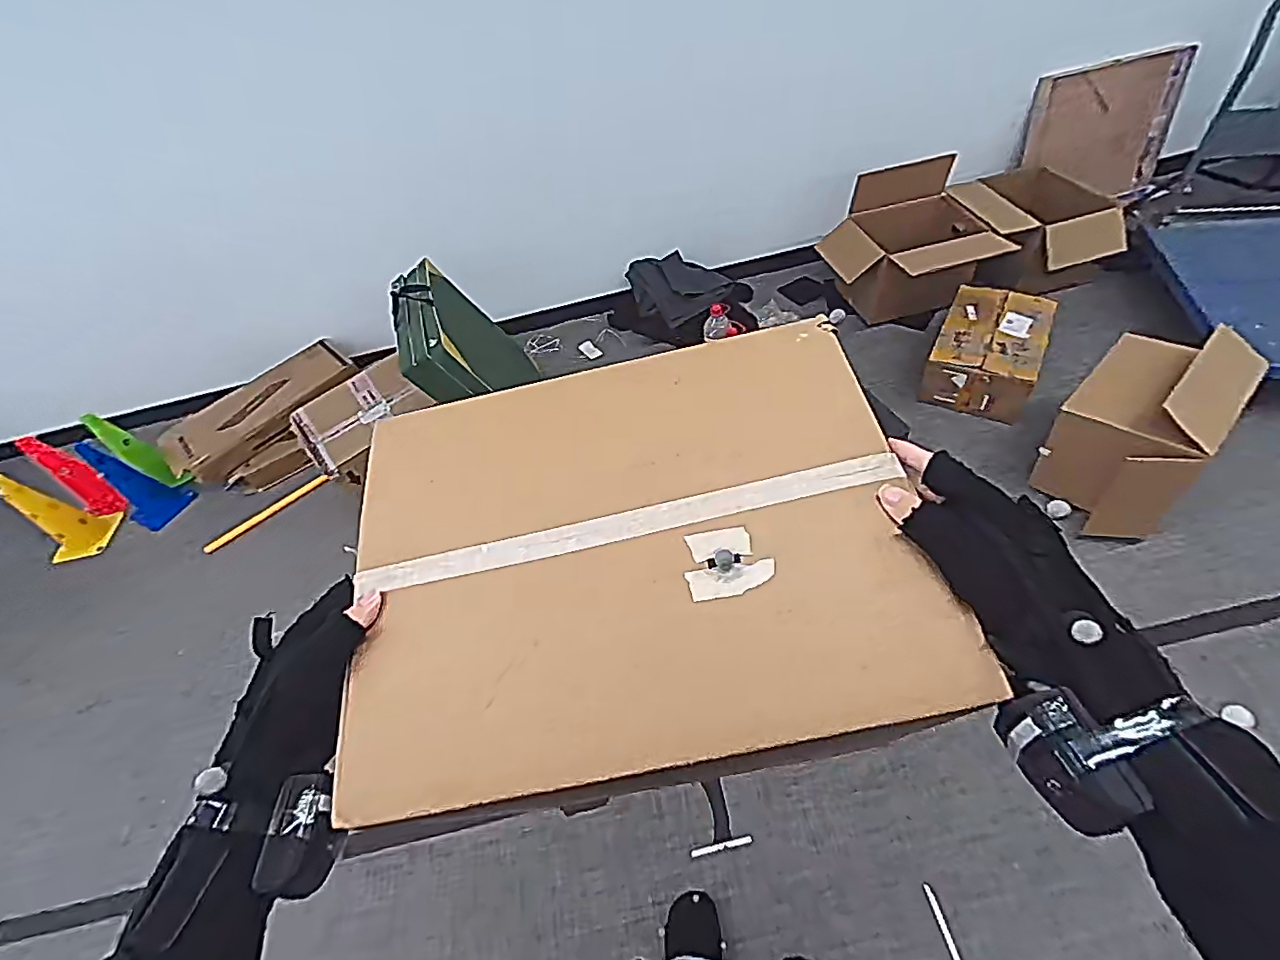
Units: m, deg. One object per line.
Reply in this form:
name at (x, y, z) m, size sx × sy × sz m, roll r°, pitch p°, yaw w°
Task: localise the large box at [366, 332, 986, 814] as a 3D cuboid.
large box at (0.015, 0.113, 0.536) m, size 0.408 × 0.320 × 0.320 m, roll -12°, pitch 60°, yaw 2°
